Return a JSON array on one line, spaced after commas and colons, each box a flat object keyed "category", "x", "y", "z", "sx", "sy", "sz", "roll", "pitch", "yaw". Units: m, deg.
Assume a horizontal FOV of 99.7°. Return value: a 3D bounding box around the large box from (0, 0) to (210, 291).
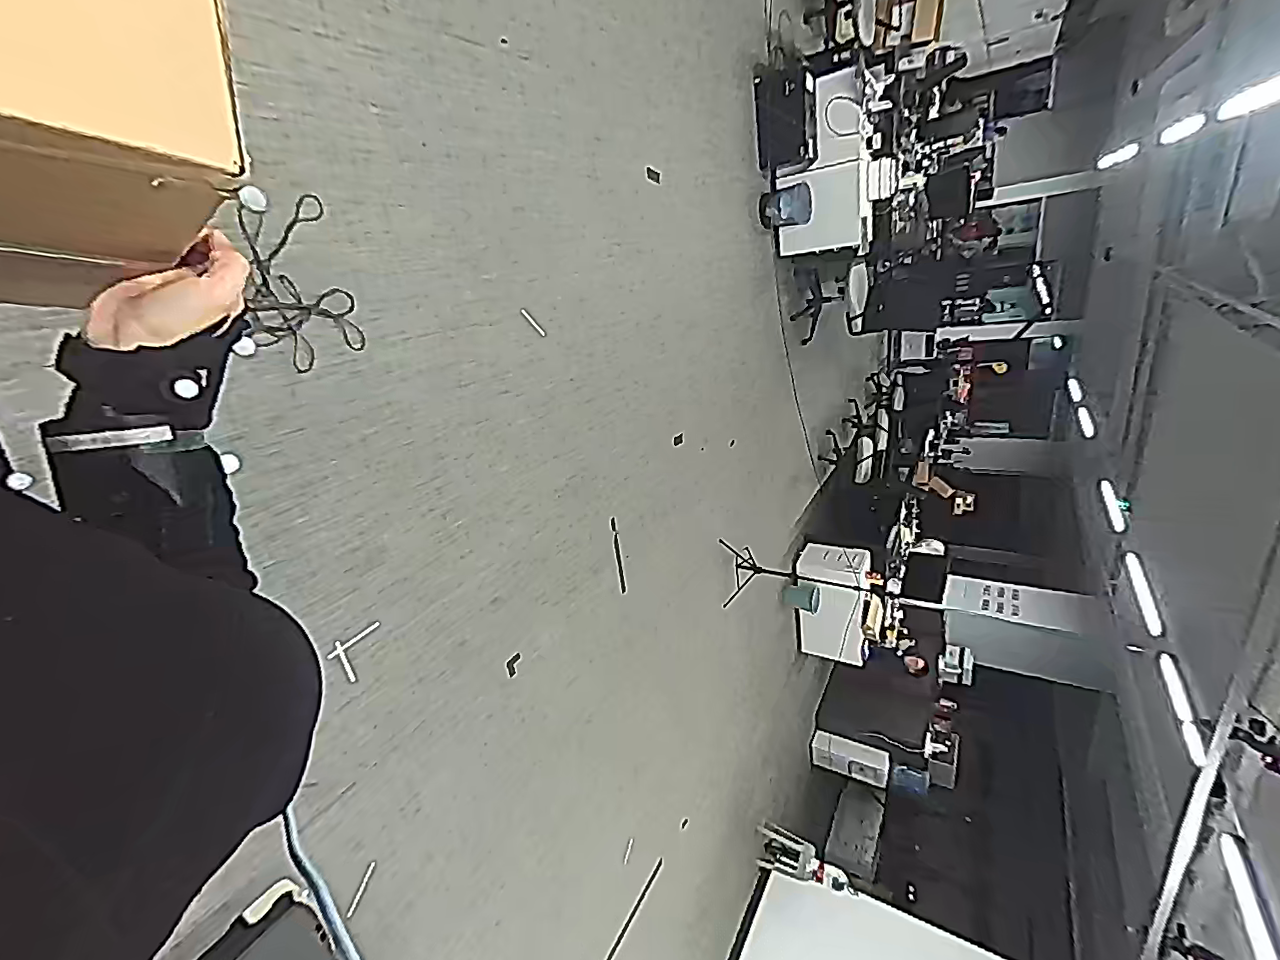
[{"category": "large box", "x": -0.454, "y": -0.272, "z": 0.178, "sx": 0.408, "sy": 0.320, "sz": 0.320, "roll": -15, "pitch": 102, "yaw": -49}]
